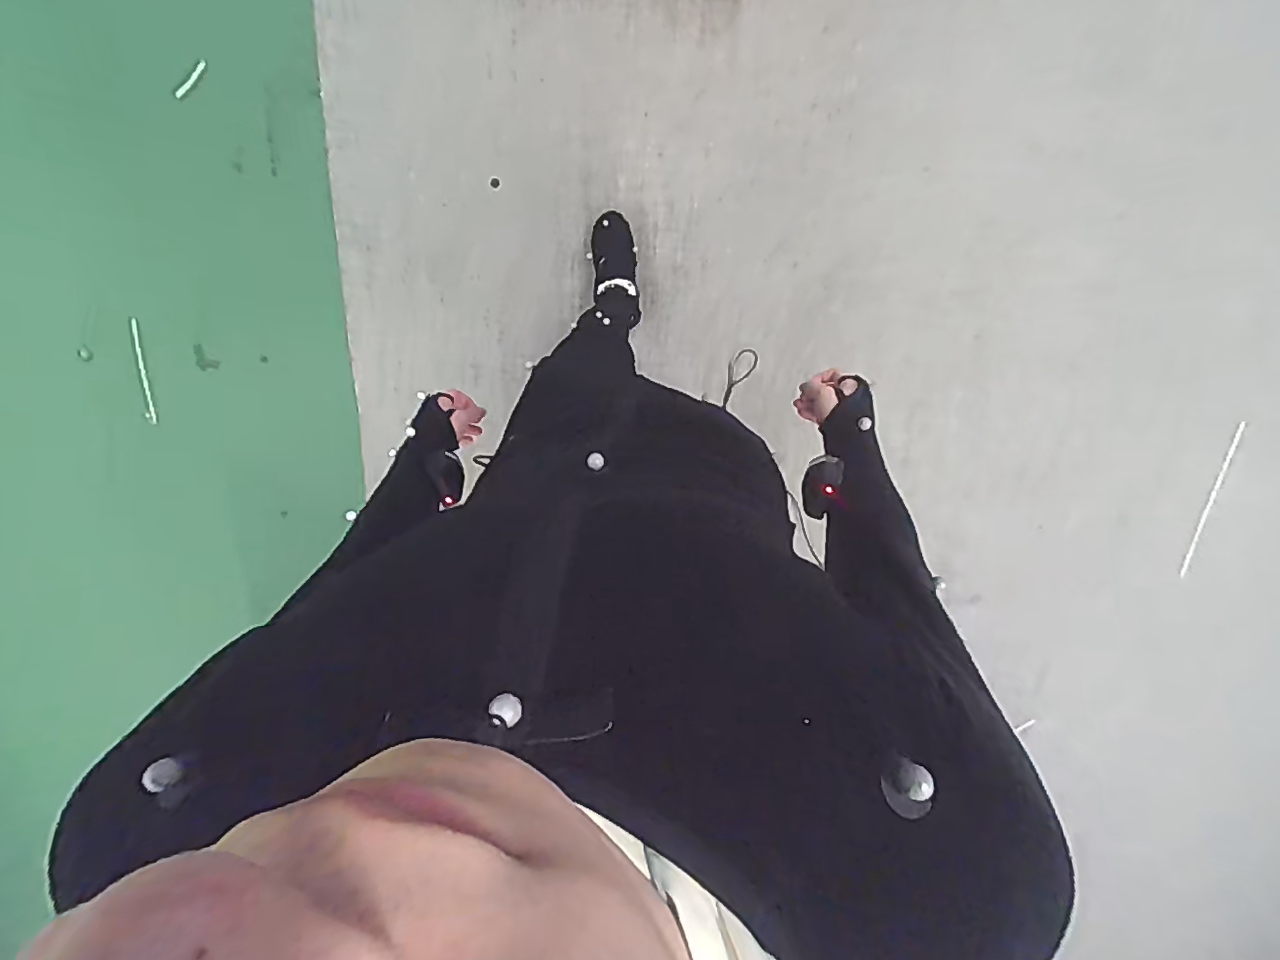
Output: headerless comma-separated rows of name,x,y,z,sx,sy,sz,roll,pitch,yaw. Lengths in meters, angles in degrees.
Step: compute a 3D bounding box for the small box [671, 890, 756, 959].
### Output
small box,0.146,0.979,1.094,0.168,0.176,0.179,0,108,4
